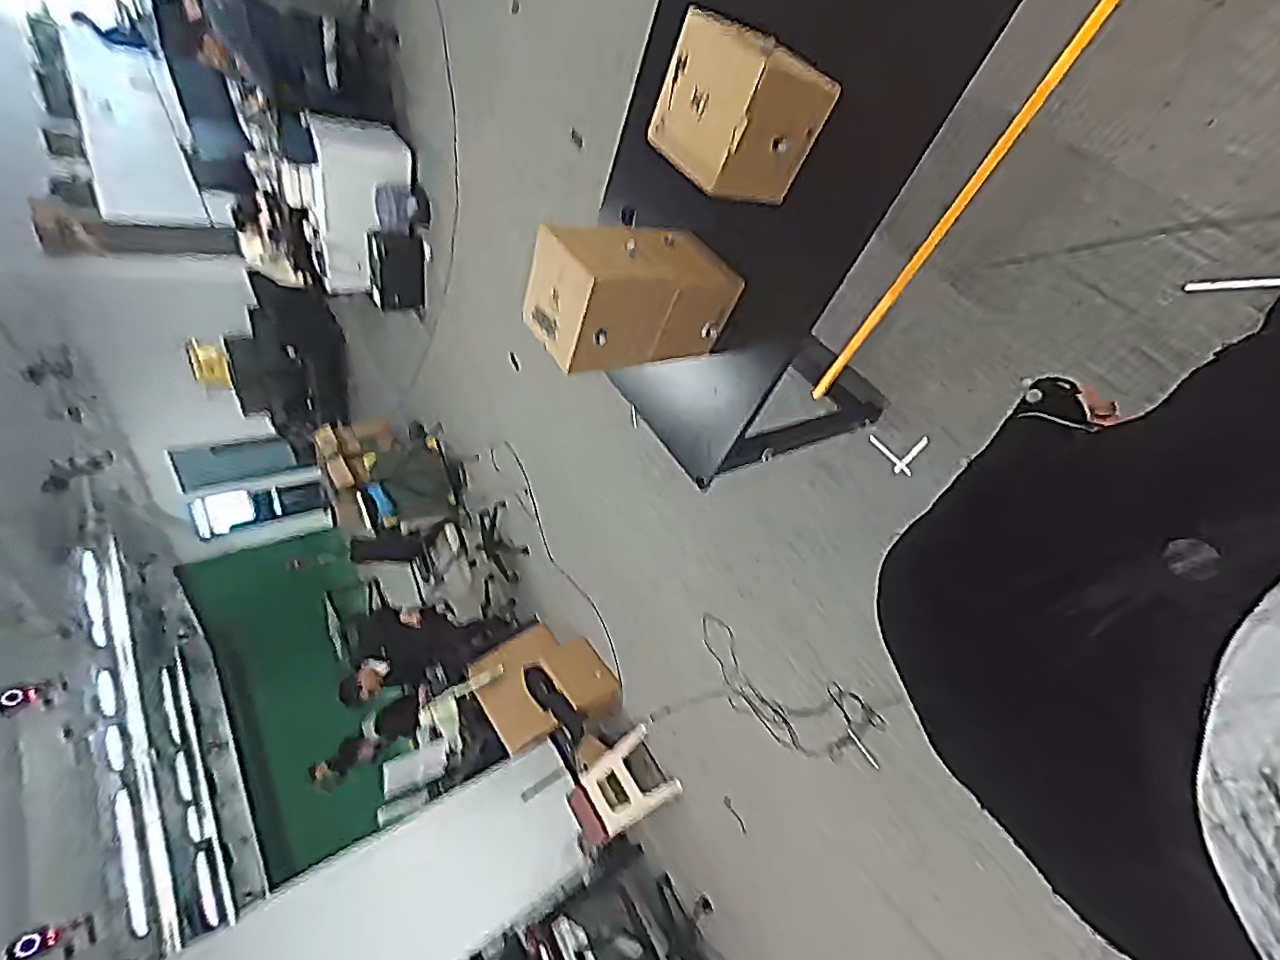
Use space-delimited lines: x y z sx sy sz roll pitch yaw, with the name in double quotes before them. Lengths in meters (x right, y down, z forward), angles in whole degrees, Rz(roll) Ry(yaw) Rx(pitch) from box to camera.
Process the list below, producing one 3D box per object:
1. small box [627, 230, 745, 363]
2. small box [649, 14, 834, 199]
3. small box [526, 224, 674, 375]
"small box" 0.057 -0.340 1.005 0.179 0.176 0.168 52 140 25
"small box" 0.149 -0.543 0.805 0.179 0.176 0.168 54 140 24
"small box" -0.069 -0.302 0.907 0.168 0.176 0.179 52 139 27
